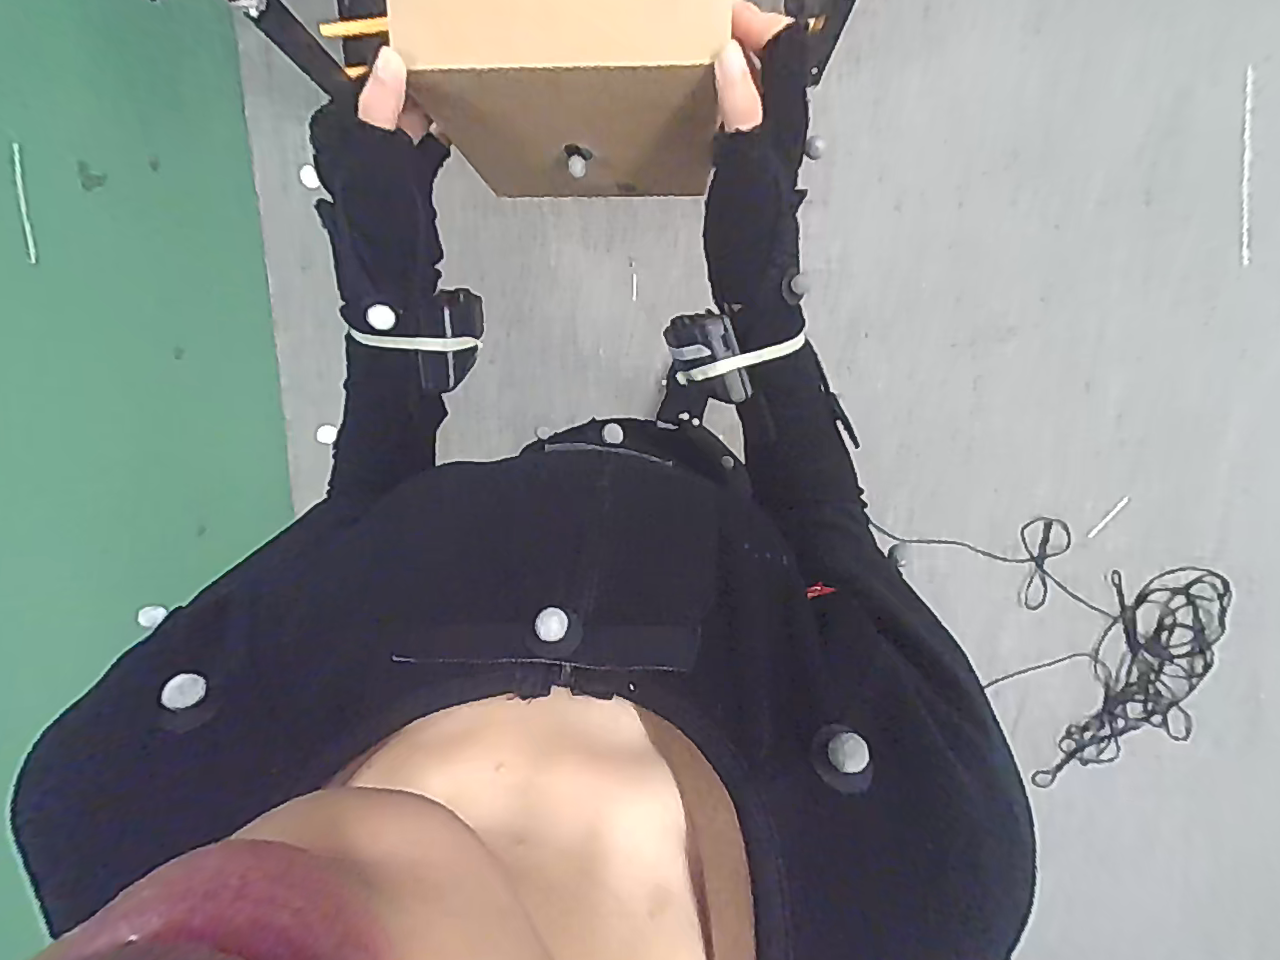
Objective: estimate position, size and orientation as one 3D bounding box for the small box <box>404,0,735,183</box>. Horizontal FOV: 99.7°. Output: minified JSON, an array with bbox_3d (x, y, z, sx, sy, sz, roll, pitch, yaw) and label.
[{"bbox_3d":[-0.031,-0.303,0.333,0.168,0.176,0.179,0,98,1],"label":"small box"}]
